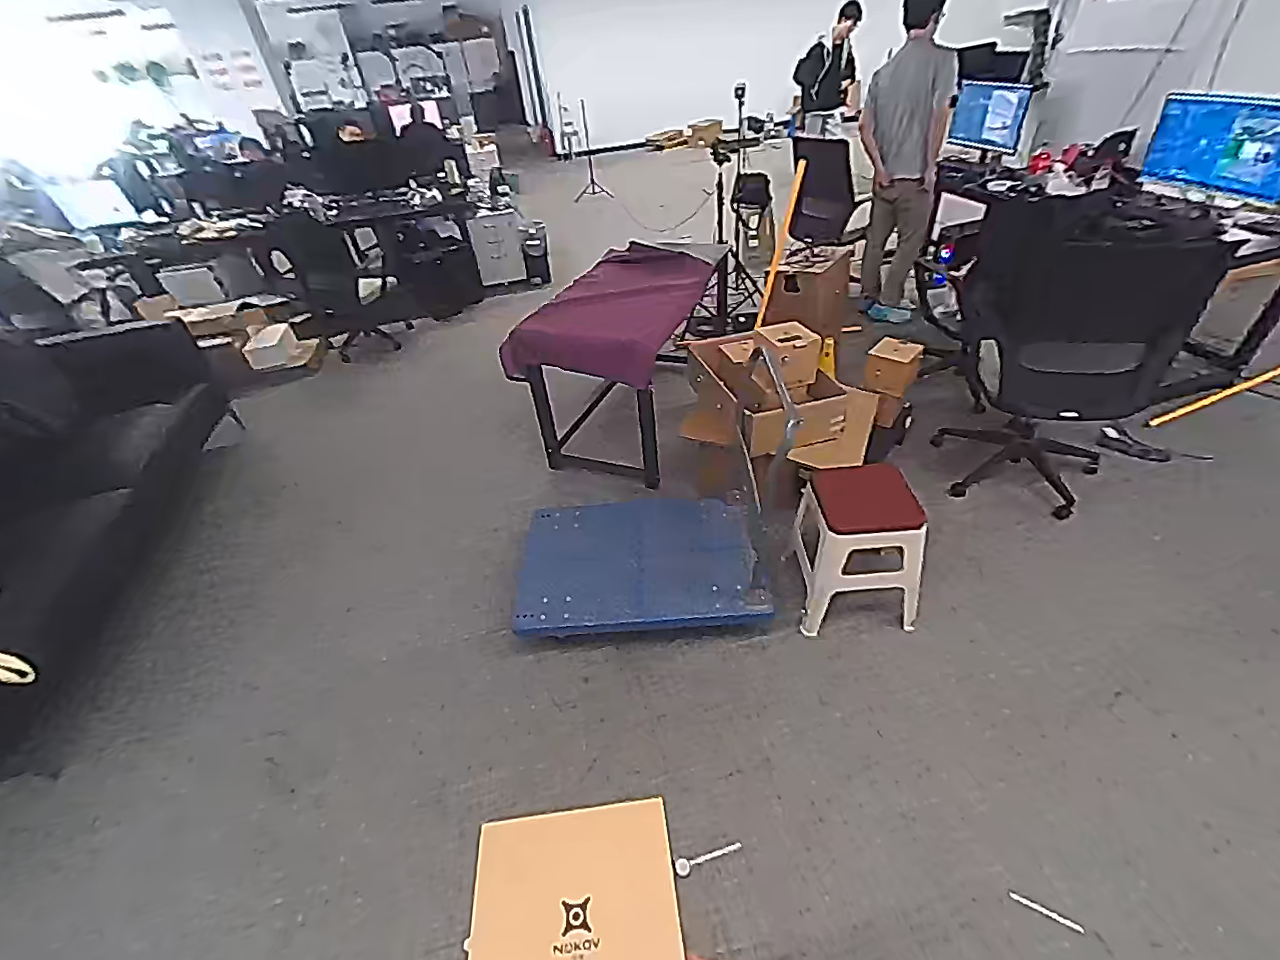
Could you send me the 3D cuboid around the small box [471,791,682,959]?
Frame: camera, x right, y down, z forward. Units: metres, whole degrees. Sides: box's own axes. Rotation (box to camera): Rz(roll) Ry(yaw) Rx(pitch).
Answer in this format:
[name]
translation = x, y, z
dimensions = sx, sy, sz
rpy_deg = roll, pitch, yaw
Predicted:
[small box]
translation = -0.050, 0.415, 0.487
dimensions = 0.168, 0.176, 0.179
rpy_deg = -5, 39, -3
